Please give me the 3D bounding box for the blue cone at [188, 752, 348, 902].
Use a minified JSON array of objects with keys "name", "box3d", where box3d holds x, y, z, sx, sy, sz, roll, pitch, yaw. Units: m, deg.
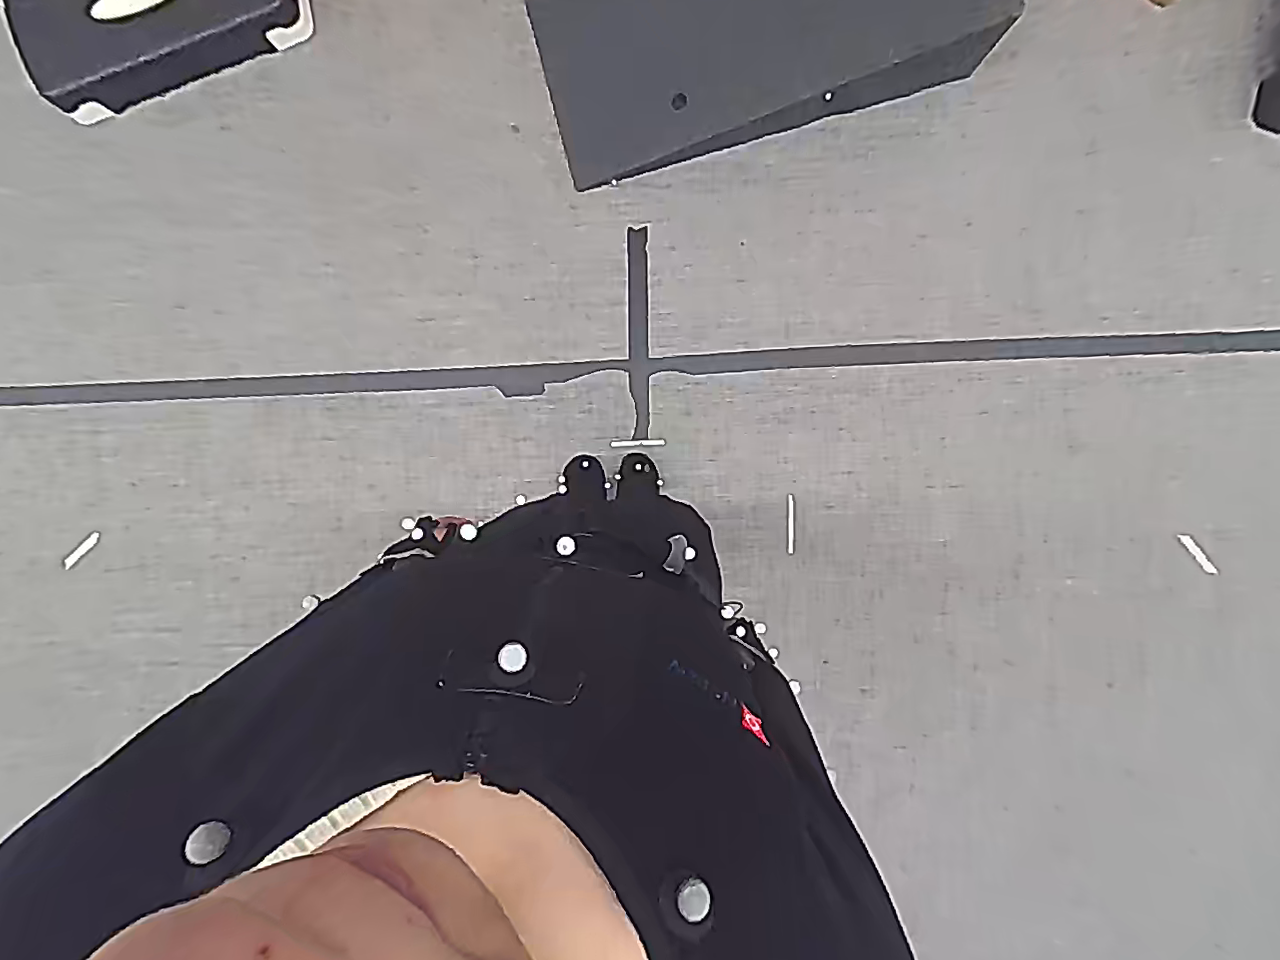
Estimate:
[{"name":"blue cone","box3d":[-0.891,0.836,1.293,0.192,0.380,0.193,0,94,3]}]
